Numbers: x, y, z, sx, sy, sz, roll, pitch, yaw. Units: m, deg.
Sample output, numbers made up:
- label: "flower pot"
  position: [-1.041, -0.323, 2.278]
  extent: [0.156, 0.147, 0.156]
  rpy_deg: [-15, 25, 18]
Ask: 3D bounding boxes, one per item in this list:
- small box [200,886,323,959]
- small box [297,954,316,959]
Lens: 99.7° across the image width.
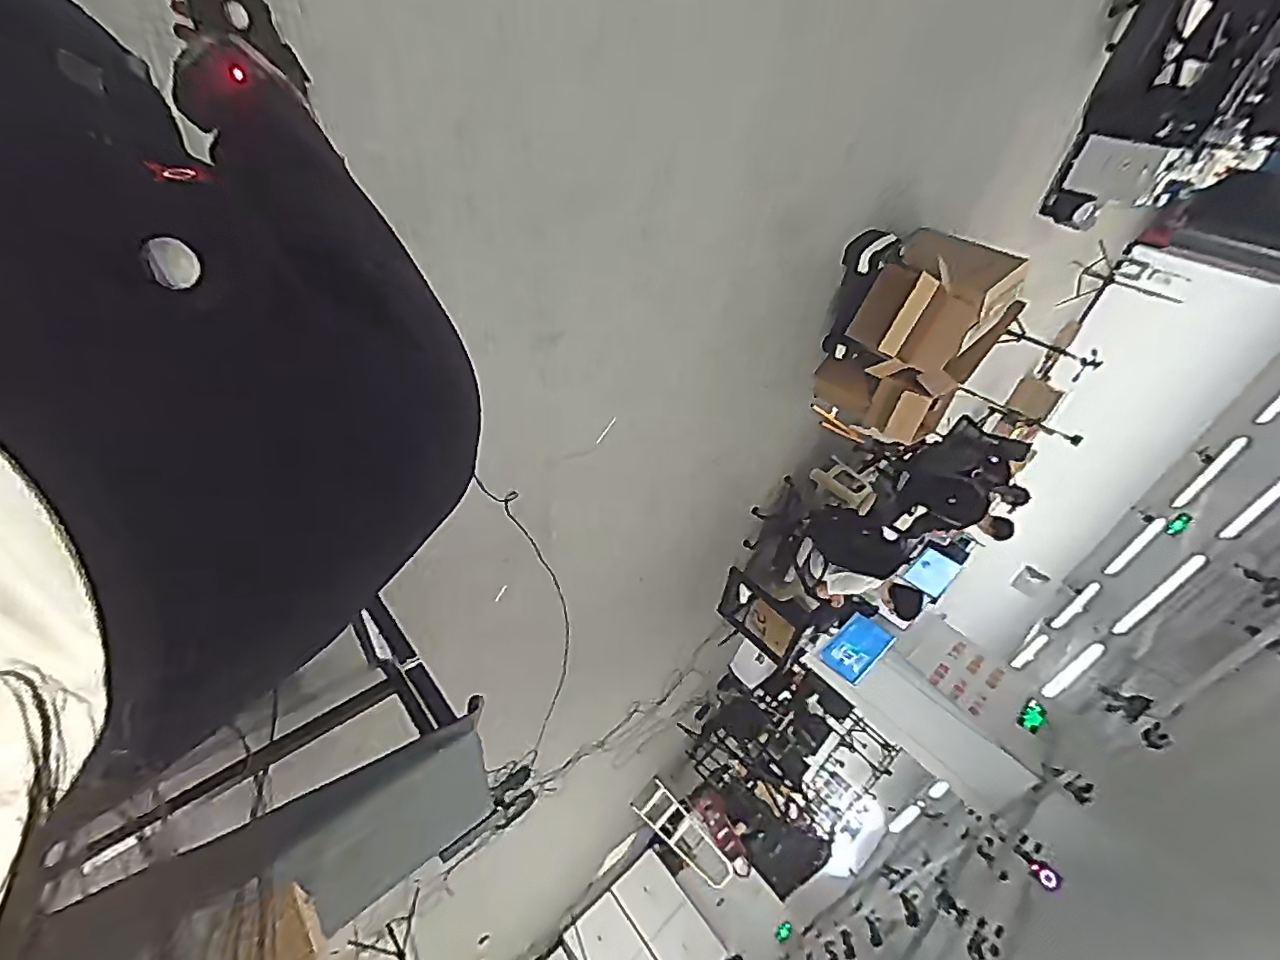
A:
- label: "small box"
  position: [-0.841, 1.058, 1.206]
  extent: [0.168, 0.176, 0.179]
  rpy_deg: [-26, 140, -35]
- label: "small box"
  position: [-0.735, 1.143, 1.113]
  extent: [0.179, 0.176, 0.168]
  rpy_deg: [-27, 141, -32]
